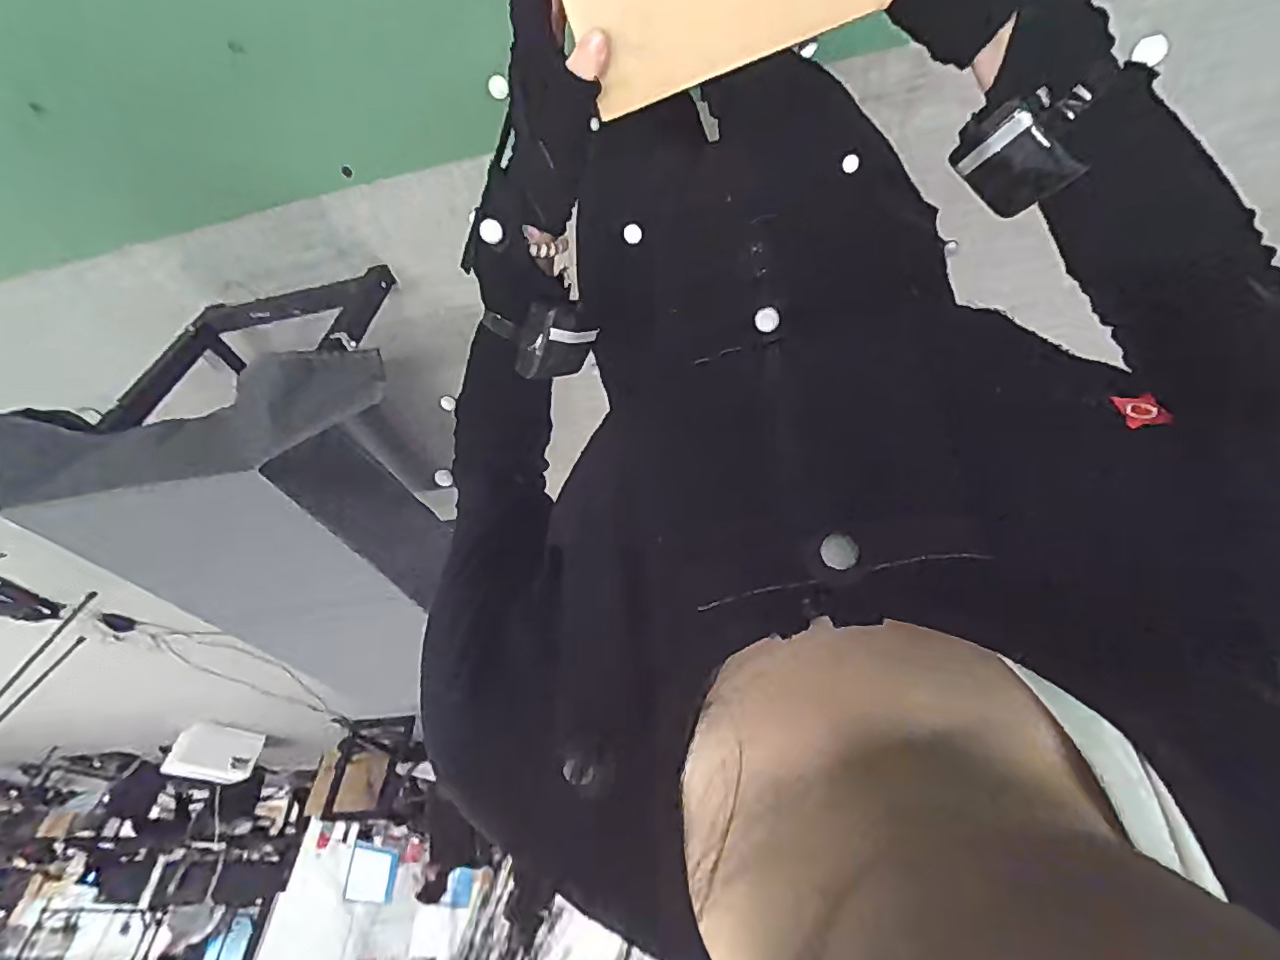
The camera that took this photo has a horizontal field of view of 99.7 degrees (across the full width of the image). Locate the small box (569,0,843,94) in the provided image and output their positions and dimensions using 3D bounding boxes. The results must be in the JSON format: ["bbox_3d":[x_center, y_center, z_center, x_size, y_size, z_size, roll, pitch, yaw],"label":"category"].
[{"bbox_3d":[0.028,-0.351,0.297,0.179,0.176,0.168,-17,134,9],"label":"small box"}]
